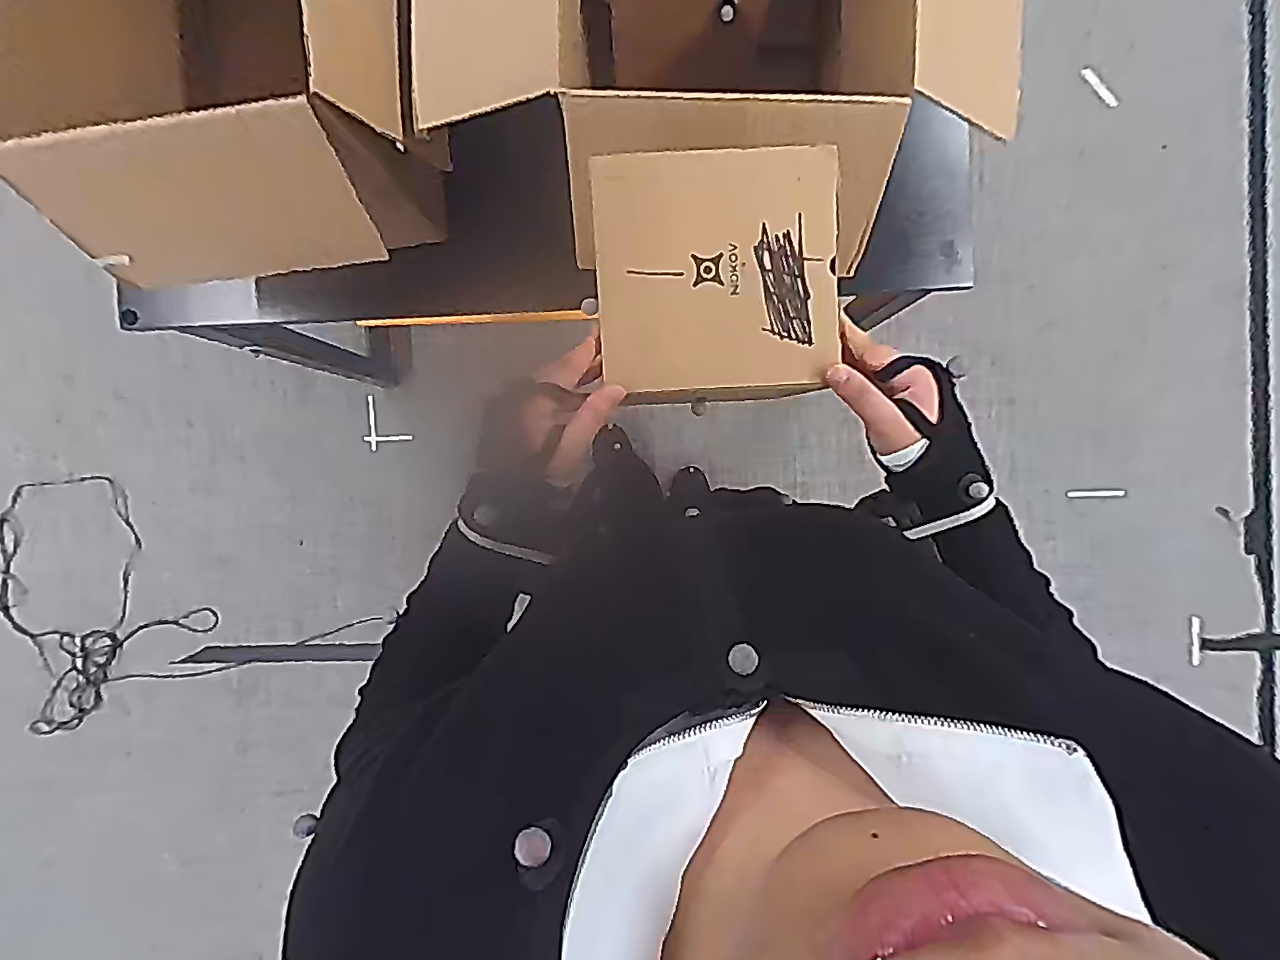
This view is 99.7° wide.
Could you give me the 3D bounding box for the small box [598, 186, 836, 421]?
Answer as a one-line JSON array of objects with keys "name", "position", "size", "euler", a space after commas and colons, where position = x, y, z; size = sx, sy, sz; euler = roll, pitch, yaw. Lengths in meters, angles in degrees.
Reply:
[{"name": "small box", "position": [0.055, -0.138, 0.478], "size": [0.179, 0.176, 0.168], "euler": [-3, 95, -1]}]
